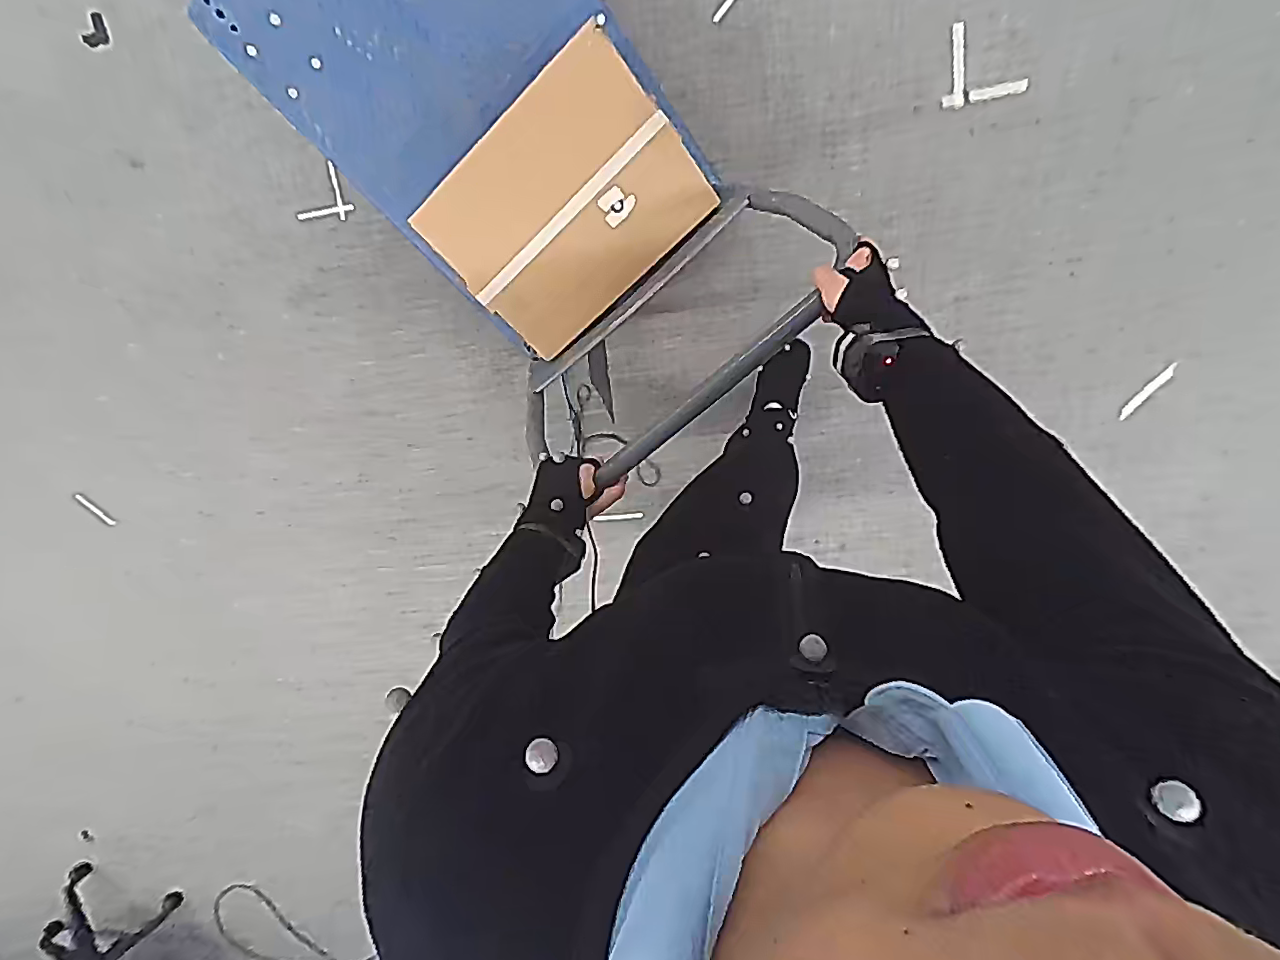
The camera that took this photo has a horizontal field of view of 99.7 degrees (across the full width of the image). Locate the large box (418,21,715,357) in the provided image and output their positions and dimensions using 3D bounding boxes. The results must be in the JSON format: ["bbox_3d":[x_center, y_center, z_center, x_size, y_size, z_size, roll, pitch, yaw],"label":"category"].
[{"bbox_3d":[-0.135,-0.508,1.015,0.408,0.320,0.320,-40,116,13],"label":"large box"}]
